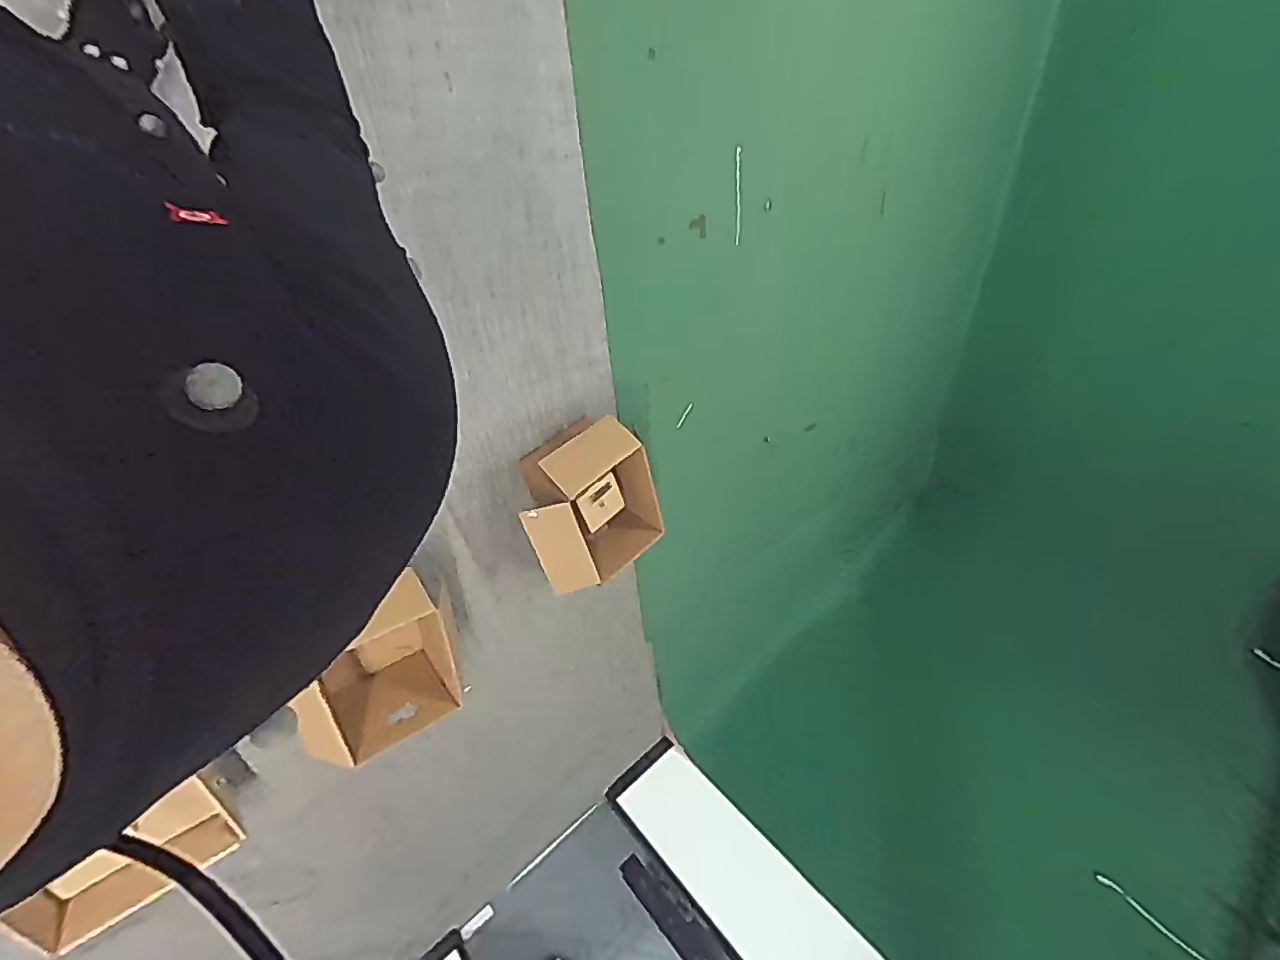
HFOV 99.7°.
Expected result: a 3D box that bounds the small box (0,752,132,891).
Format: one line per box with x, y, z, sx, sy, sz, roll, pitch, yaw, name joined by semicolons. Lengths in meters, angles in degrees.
-1.277;0.744;1.202;0.168;0.176;0.179;-23;129;-34;small box
